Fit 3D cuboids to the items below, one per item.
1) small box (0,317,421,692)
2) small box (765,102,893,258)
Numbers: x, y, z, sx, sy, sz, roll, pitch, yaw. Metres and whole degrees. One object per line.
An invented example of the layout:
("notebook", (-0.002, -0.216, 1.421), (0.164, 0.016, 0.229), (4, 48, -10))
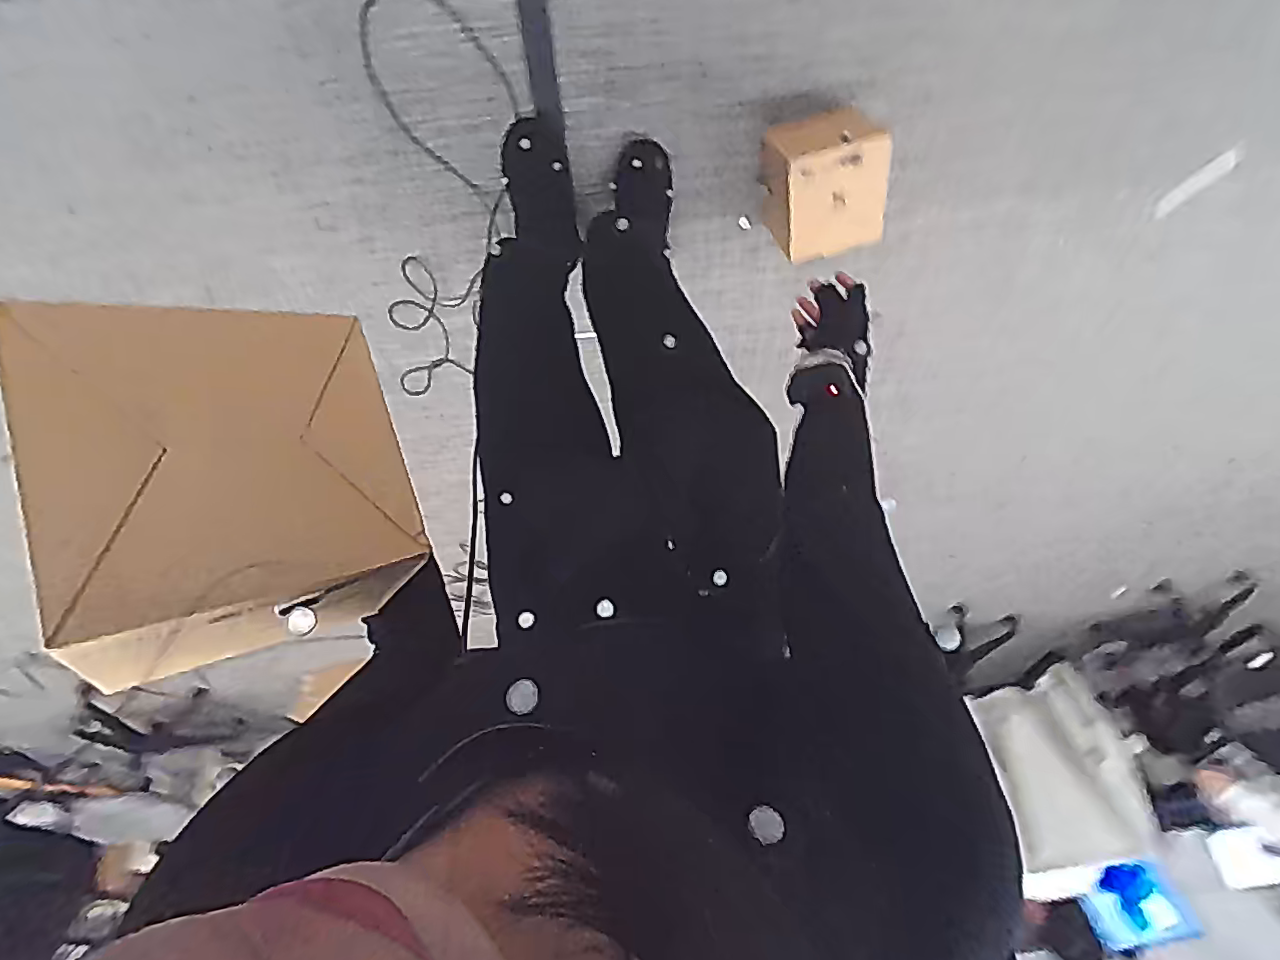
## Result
("small box", (-0.259, 0.011, 0.347), (0.168, 0.179, 0.176), (-12, 164, -40))
("small box", (0.326, -0.532, 0.962), (0.168, 0.176, 0.179), (-13, 137, 6))
